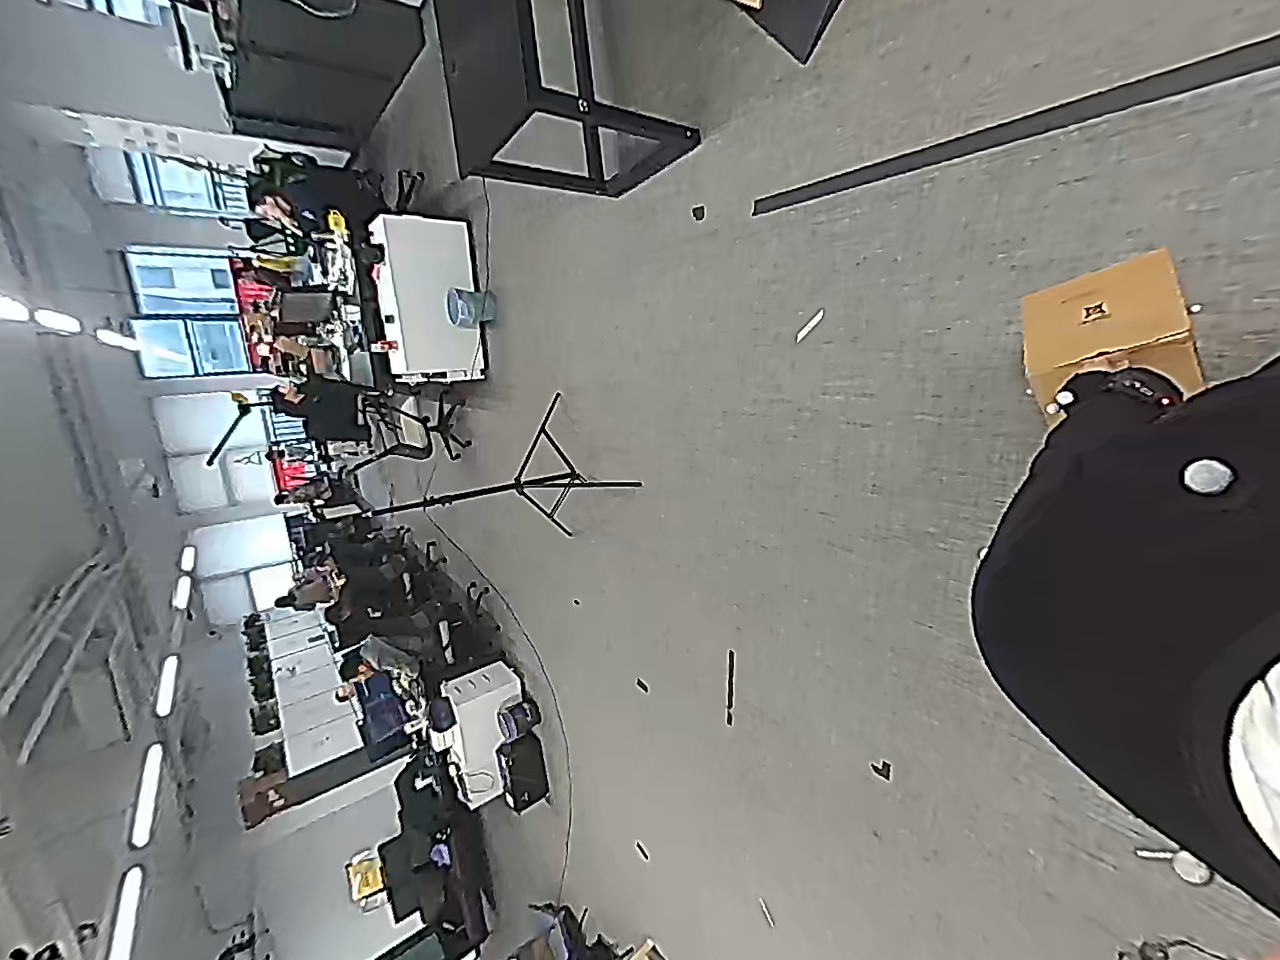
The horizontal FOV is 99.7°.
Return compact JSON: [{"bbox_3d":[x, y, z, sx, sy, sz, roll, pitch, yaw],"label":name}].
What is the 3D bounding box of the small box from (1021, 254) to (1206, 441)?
[{"bbox_3d":[0.666,-0.173,0.770,0.168,0.179,0.176,-14,133,46],"label":"small box"}]
